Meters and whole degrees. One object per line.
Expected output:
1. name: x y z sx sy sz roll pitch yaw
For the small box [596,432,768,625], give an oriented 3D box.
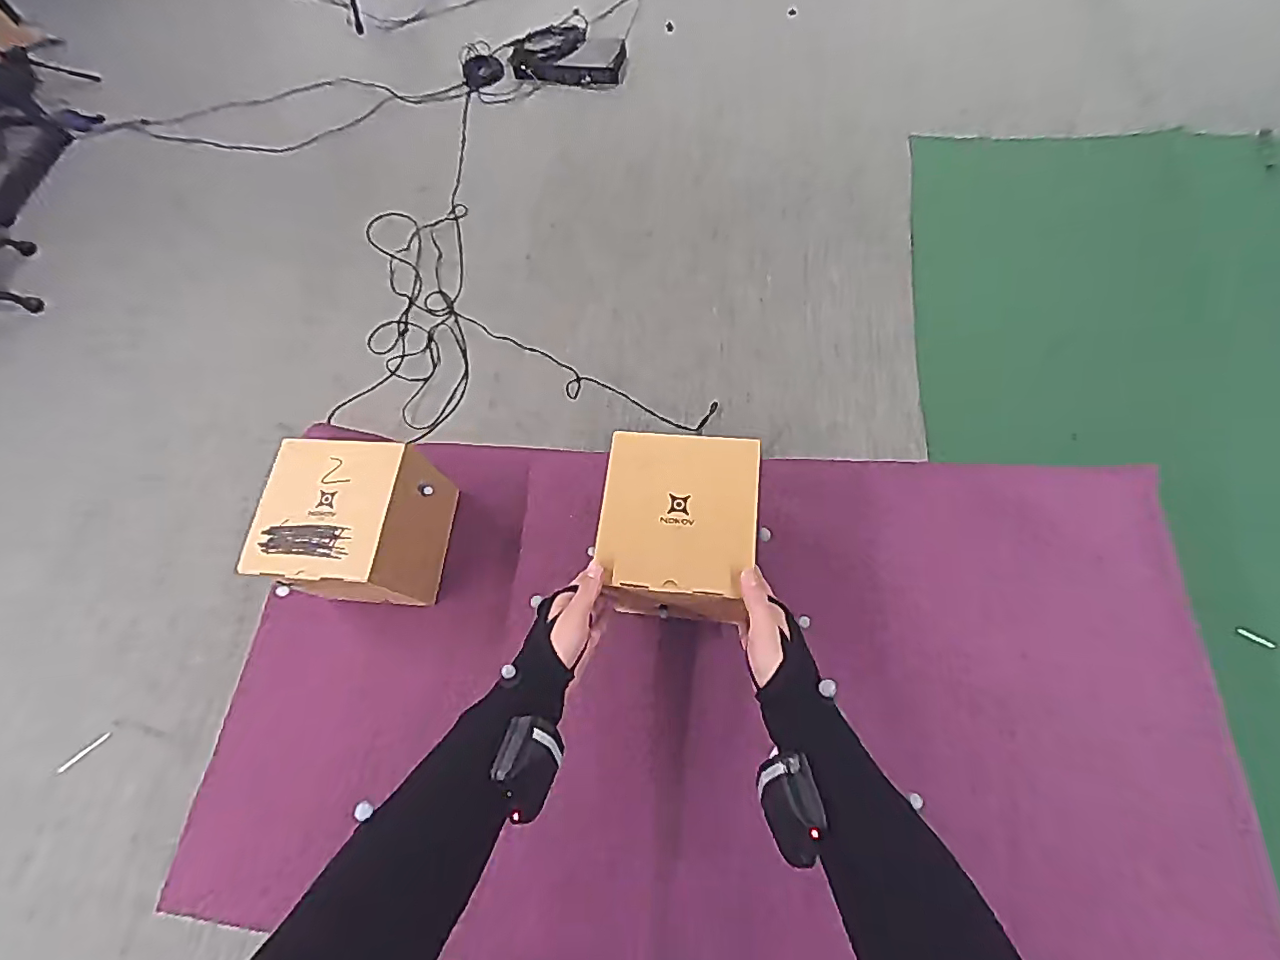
1. small box: 0.053 0.064 0.637 0.168 0.176 0.179 5 69 8
